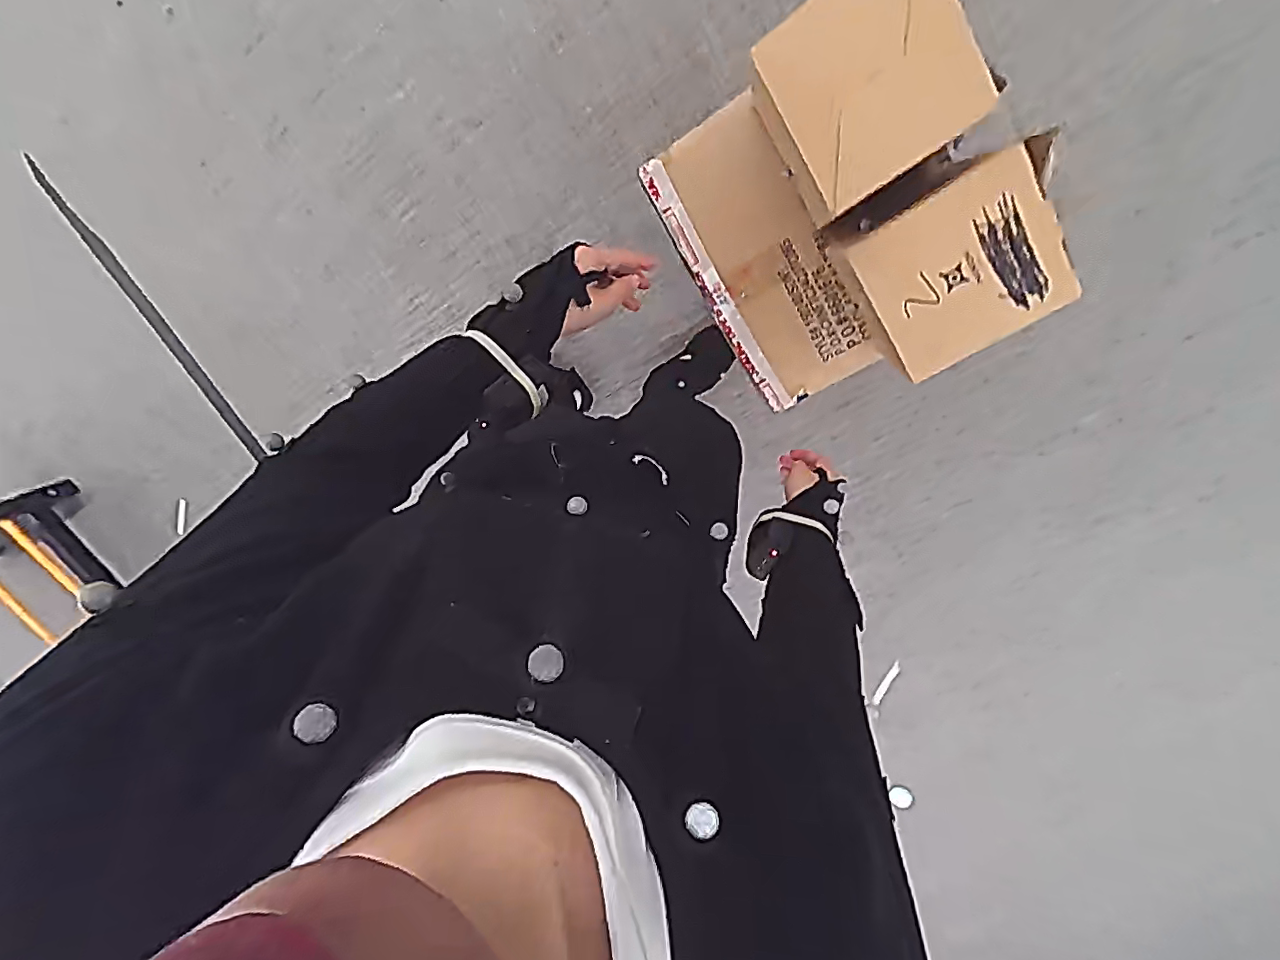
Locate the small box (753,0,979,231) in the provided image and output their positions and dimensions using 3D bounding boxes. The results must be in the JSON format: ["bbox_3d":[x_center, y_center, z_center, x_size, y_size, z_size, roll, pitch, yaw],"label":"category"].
[{"bbox_3d":[0.233,-0.402,0.587,0.168,0.176,0.179,-28,102,20],"label":"small box"}]
